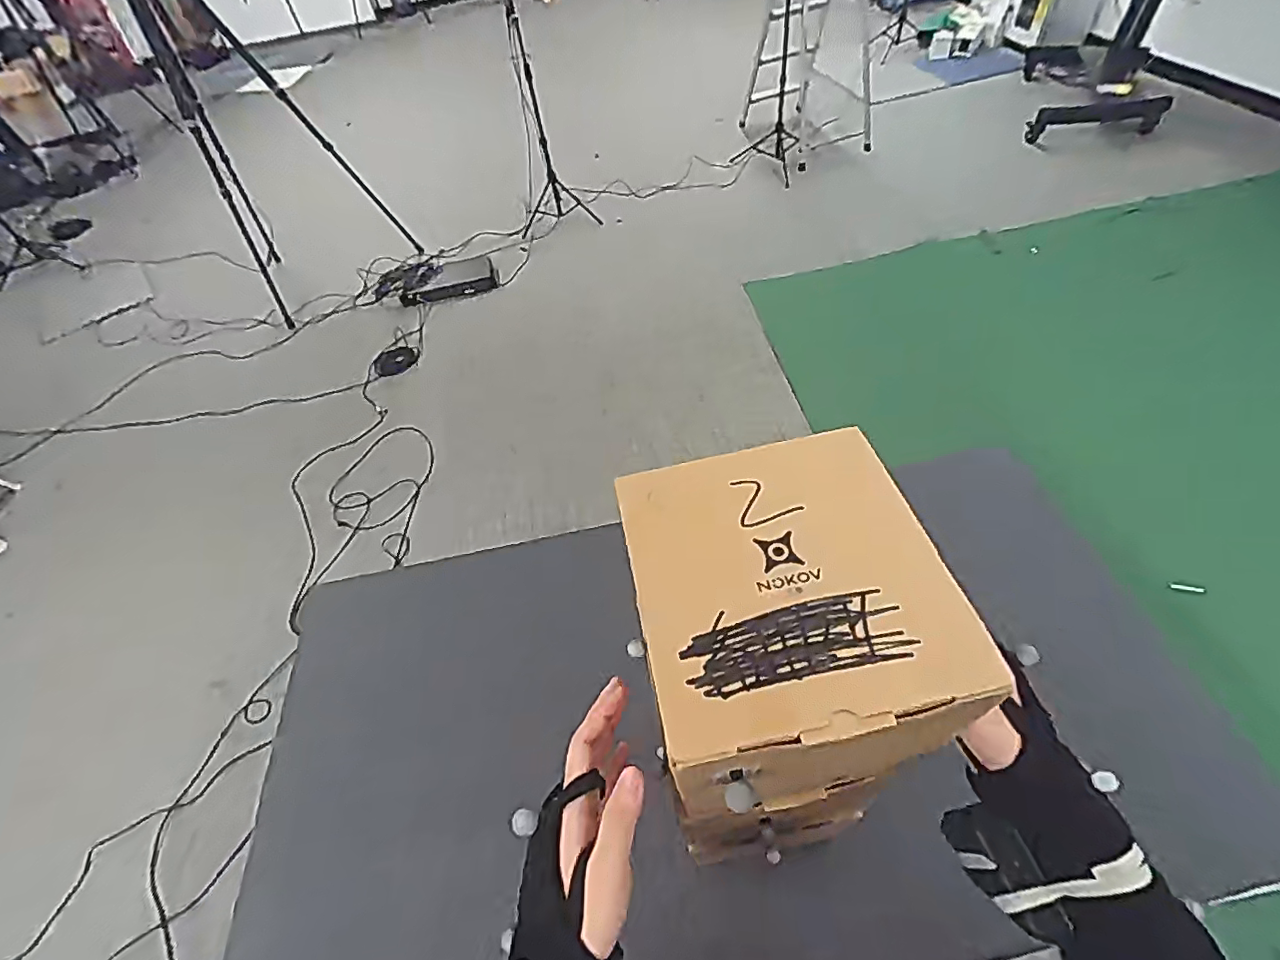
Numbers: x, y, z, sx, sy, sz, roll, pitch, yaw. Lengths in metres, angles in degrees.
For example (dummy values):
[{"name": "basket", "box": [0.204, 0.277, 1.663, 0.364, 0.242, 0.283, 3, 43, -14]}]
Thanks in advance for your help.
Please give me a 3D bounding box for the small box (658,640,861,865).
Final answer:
[{"name": "small box", "box": [0.118, 0.308, 0.607, 0.168, 0.176, 0.179, -12, 51, -1]}]
